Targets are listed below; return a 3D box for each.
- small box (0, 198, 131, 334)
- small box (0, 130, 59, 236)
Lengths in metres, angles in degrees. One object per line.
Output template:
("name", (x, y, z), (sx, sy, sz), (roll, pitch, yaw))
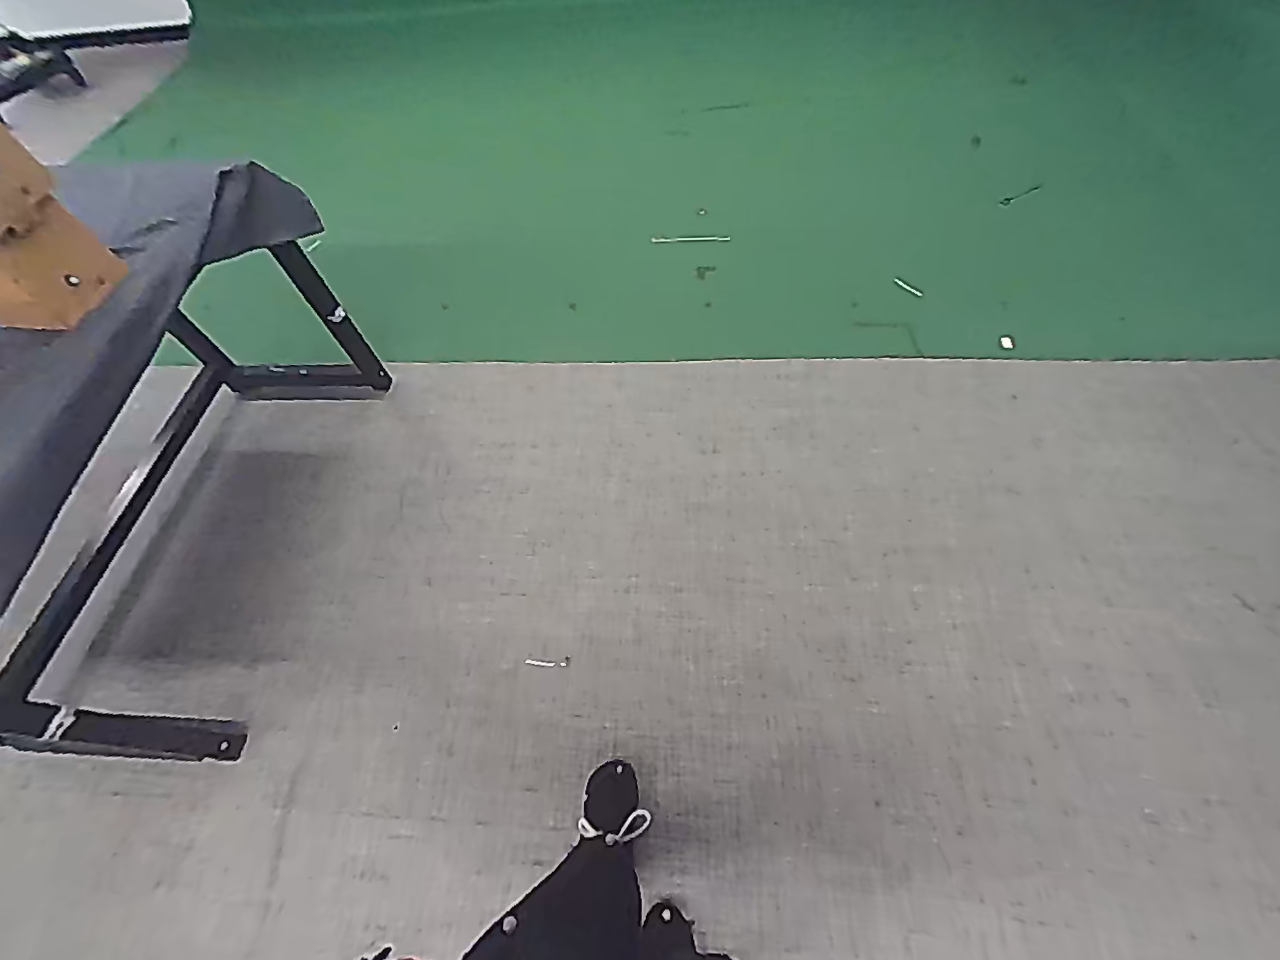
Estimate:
("small box", (-1.091, -0.378, 0.961), (0.179, 0.176, 0.168), (4, 58, 8))
("small box", (-1.084, -0.477, 0.829), (0.179, 0.176, 0.168), (1, 58, 5))
